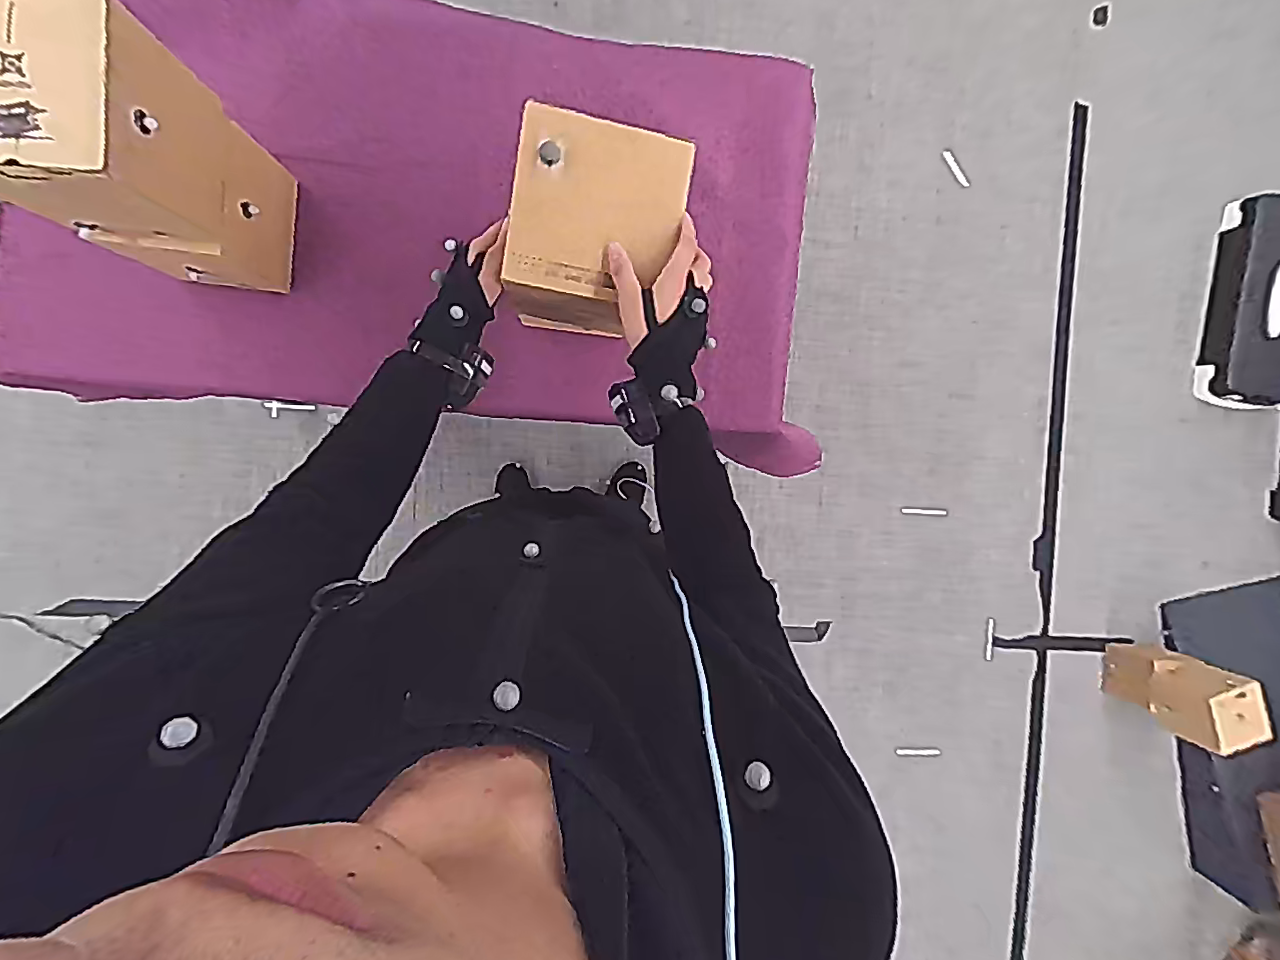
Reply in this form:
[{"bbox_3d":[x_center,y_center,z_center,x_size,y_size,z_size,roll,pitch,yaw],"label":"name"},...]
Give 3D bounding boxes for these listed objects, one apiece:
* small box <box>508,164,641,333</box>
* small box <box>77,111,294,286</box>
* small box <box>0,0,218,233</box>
[{"bbox_3d":[-0.094,-0.330,0.808,0.168,0.176,0.179,6,92,-6],"label":"small box"},{"bbox_3d":[-0.608,-0.384,0.746,0.168,0.176,0.179,6,92,-7],"label":"small box"},{"bbox_3d":[-0.594,-0.387,0.582,0.168,0.176,0.179,2,92,-7],"label":"small box"}]
